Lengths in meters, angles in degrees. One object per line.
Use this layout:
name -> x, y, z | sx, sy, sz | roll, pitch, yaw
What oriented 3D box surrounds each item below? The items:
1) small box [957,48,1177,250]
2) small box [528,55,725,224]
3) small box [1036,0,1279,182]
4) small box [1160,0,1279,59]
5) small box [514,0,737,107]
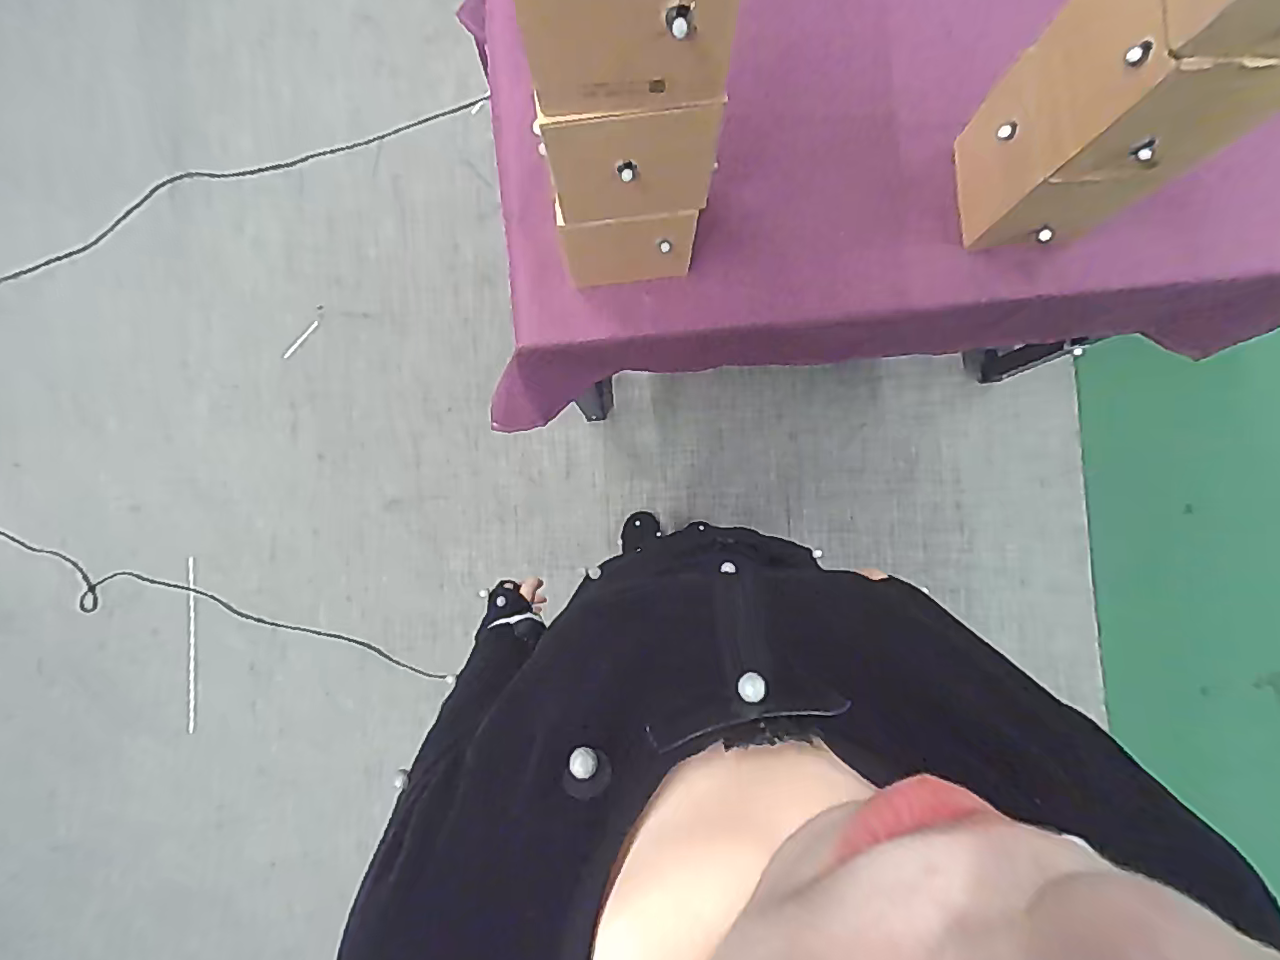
small box -> 0.557, -0.437, 0.732 | 0.168, 0.176, 0.179 | -2, 86, 1
small box -> -0.017, -0.400, 0.574 | 0.179, 0.176, 0.168 | -7, 86, 0
small box -> 0.557, -0.449, 0.569 | 0.168, 0.176, 0.179 | -2, 87, 1
small box -> 0.553, -0.458, 0.405 | 0.179, 0.176, 0.168 | 0, 86, 0
small box -> -0.013, -0.420, 0.412 | 0.168, 0.176, 0.179 | -3, 85, -1
